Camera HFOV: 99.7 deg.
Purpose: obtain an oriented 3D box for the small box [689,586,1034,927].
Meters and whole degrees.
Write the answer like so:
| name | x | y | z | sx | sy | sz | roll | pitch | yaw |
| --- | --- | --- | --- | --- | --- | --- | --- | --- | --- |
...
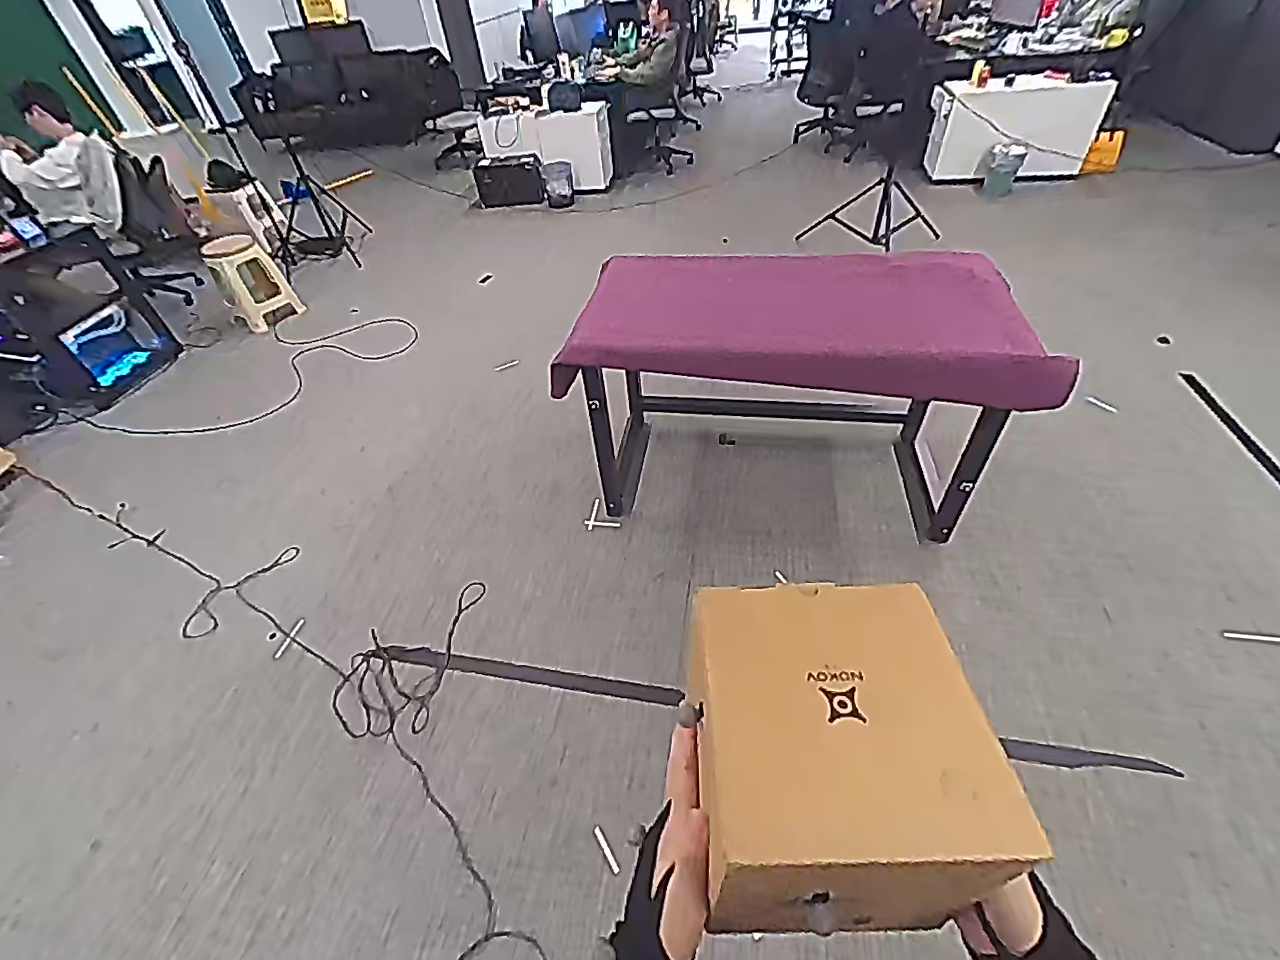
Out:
| name | x | y | z | sx | sy | sz | roll | pitch | yaw |
| --- | --- | --- | --- | --- | --- | --- | --- | --- | --- |
| small box | 0.124 | 0.200 | 0.391 | 0.168 | 0.176 | 0.179 | -1 | 39 | 0 |
